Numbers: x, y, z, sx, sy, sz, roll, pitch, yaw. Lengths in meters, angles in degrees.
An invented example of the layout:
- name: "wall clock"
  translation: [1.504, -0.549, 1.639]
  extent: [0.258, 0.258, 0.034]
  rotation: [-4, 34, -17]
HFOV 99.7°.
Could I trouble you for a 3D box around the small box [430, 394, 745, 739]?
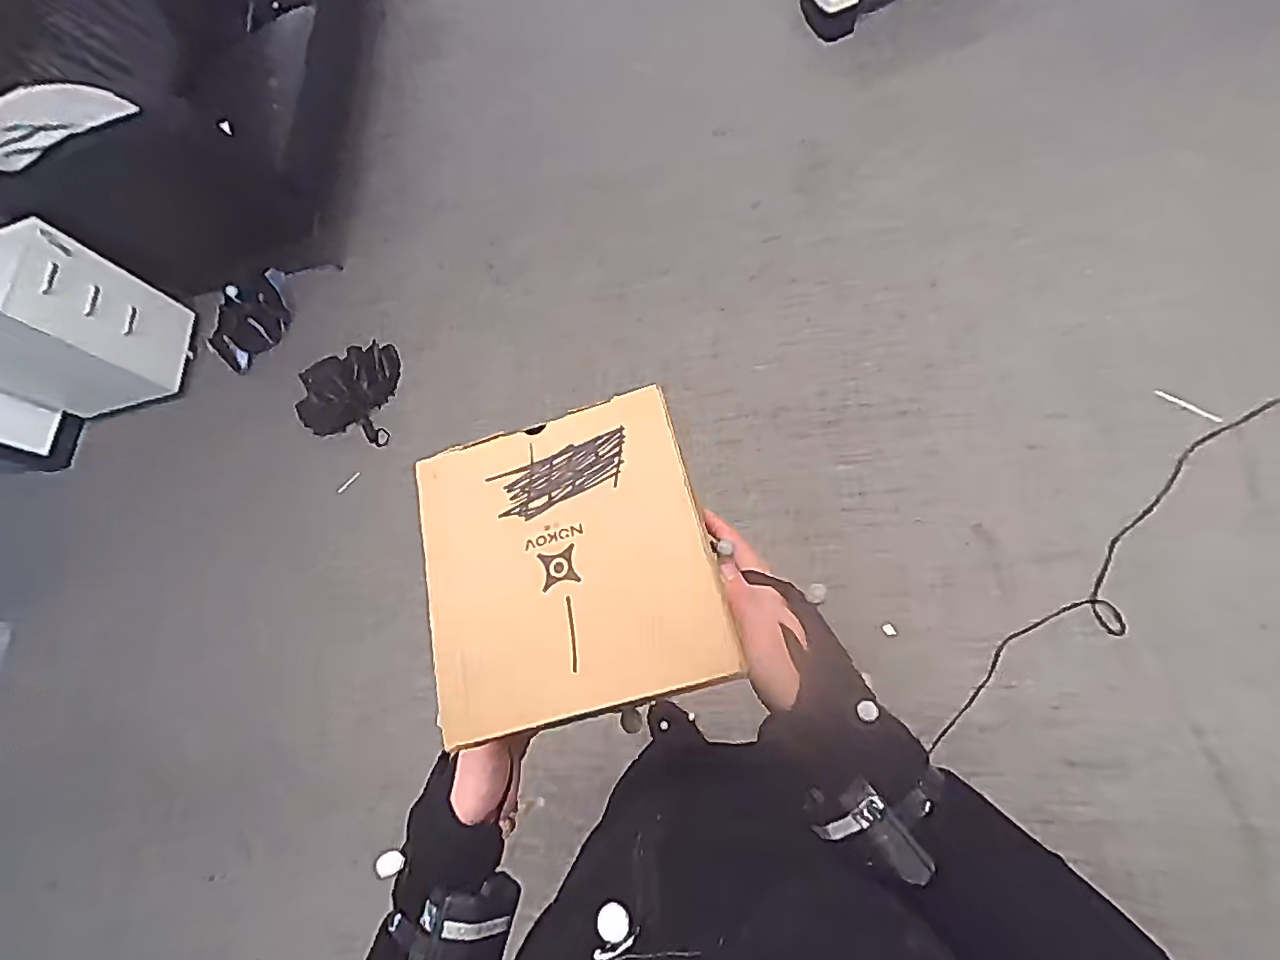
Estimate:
- name: "small box"
  translation: [-0.028, 0.072, 0.388]
  extent: [0.168, 0.176, 0.179]
  rotation: [-17, 66, 6]
